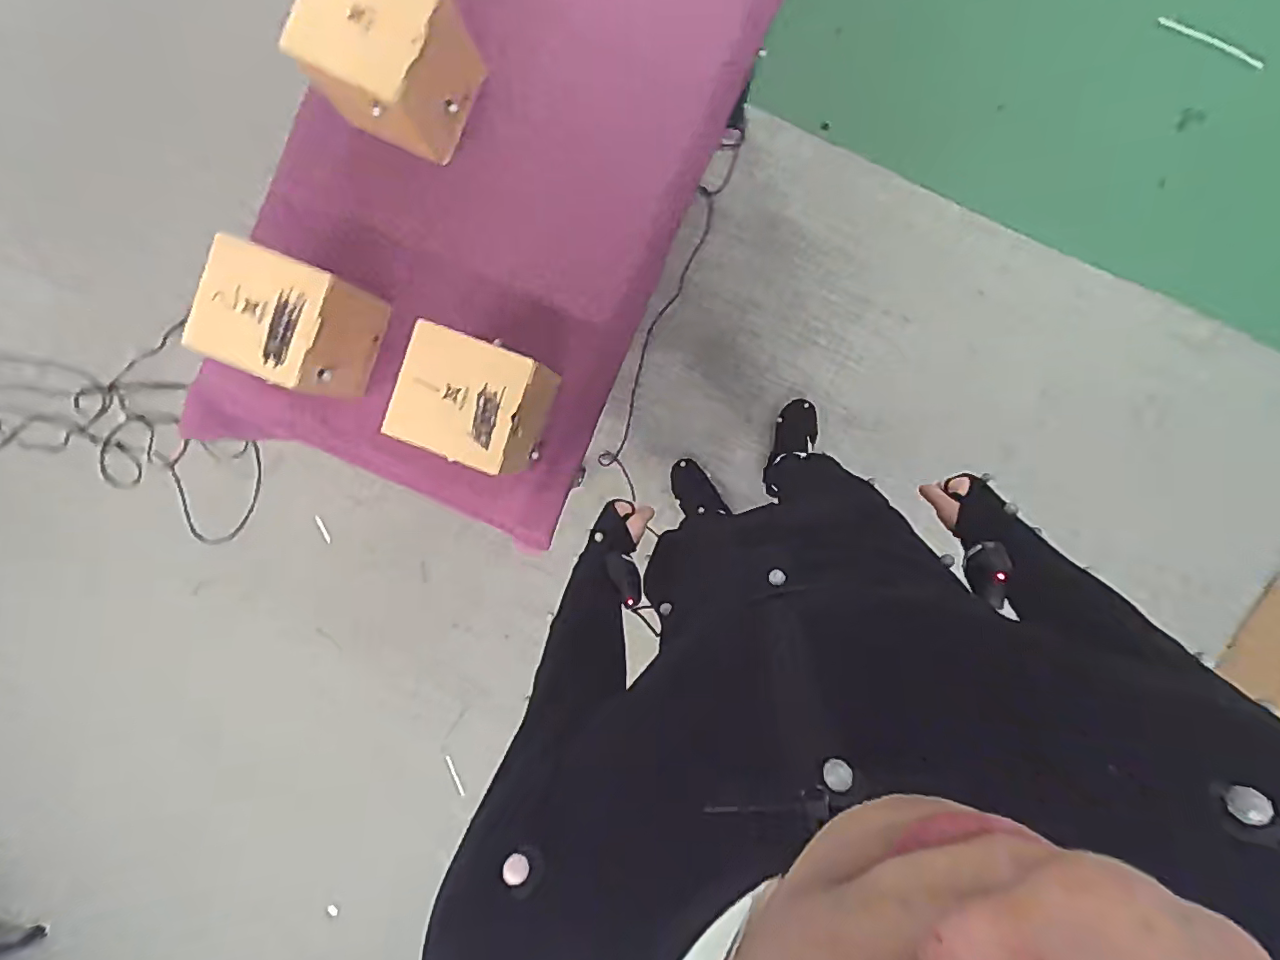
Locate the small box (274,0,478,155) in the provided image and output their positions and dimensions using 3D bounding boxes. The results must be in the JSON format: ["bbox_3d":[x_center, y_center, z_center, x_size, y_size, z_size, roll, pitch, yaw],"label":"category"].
[{"bbox_3d":[-0.365,-0.614,0.779,0.179,0.176,0.168,25,94,-1],"label":"small box"}]

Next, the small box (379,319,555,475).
[{"bbox_3d":[-0.243,-0.118,0.806,0.179,0.176,0.168,21,94,3],"label":"small box"}]
